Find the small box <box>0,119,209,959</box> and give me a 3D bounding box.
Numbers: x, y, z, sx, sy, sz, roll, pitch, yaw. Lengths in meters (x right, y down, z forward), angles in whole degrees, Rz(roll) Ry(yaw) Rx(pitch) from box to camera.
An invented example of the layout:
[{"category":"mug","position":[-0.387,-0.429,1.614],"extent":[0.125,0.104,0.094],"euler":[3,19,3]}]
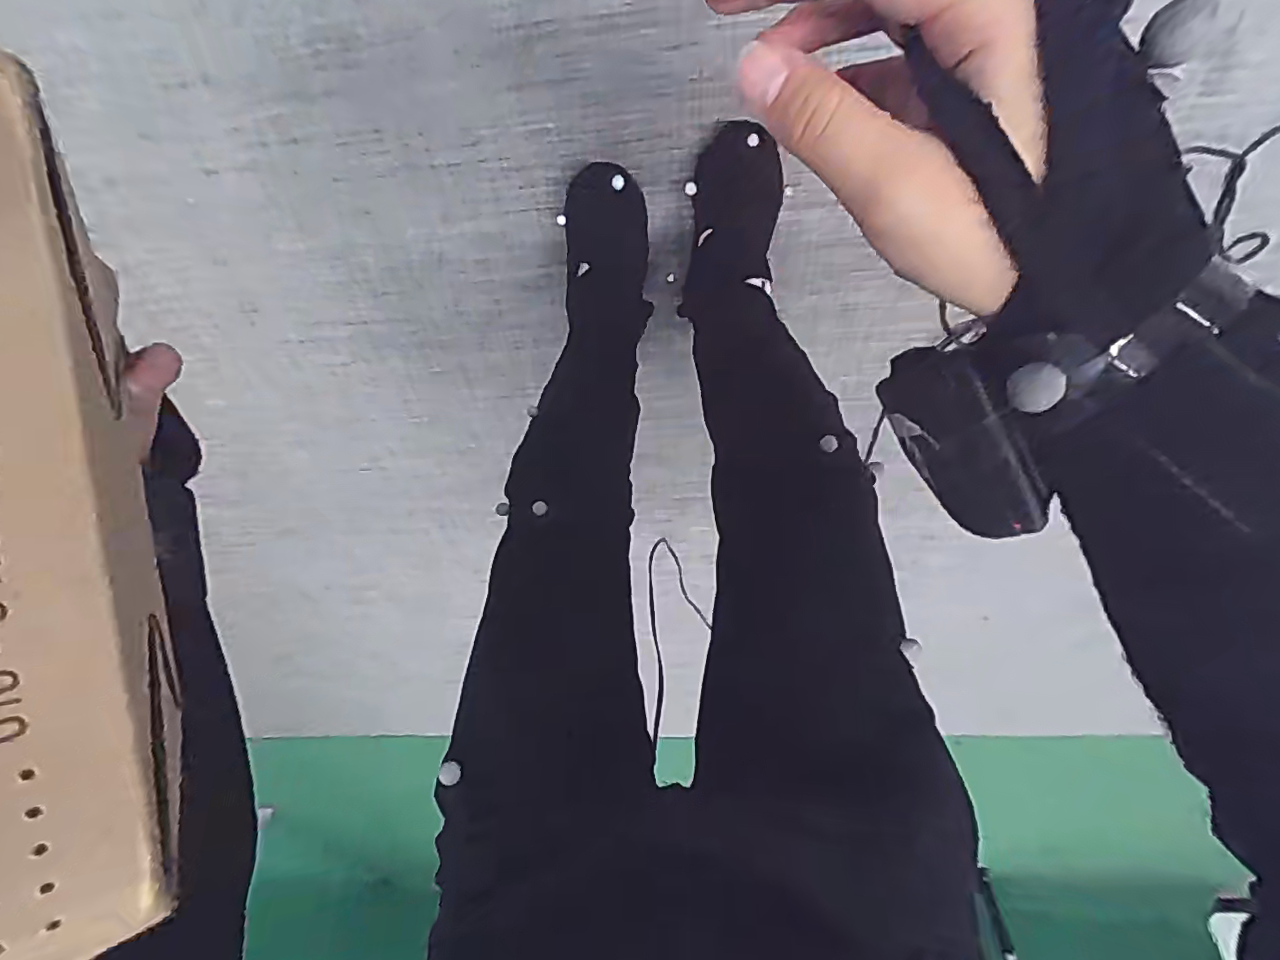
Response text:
[{"category":"small box","position":[-0.211,0.026,0.120],"extent":[0.176,0.168,0.179],"euler":[-9,180,-40]}]
